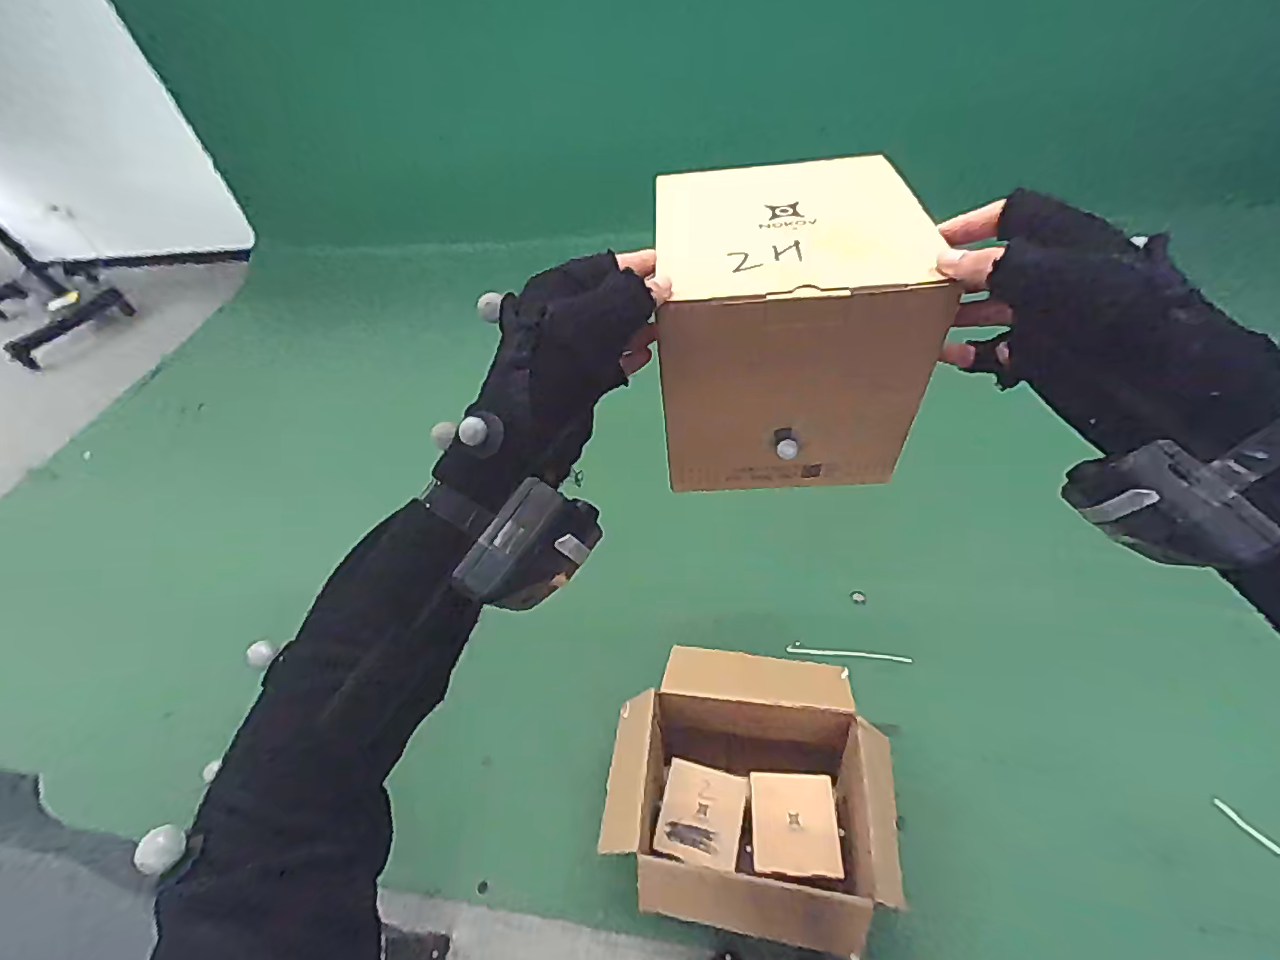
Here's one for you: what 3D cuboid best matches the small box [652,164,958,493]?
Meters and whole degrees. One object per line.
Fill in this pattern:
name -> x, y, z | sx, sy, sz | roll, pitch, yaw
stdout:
small box -> 0.097, -0.109, 0.406 | 0.168, 0.176, 0.179 | -3, 50, 5
